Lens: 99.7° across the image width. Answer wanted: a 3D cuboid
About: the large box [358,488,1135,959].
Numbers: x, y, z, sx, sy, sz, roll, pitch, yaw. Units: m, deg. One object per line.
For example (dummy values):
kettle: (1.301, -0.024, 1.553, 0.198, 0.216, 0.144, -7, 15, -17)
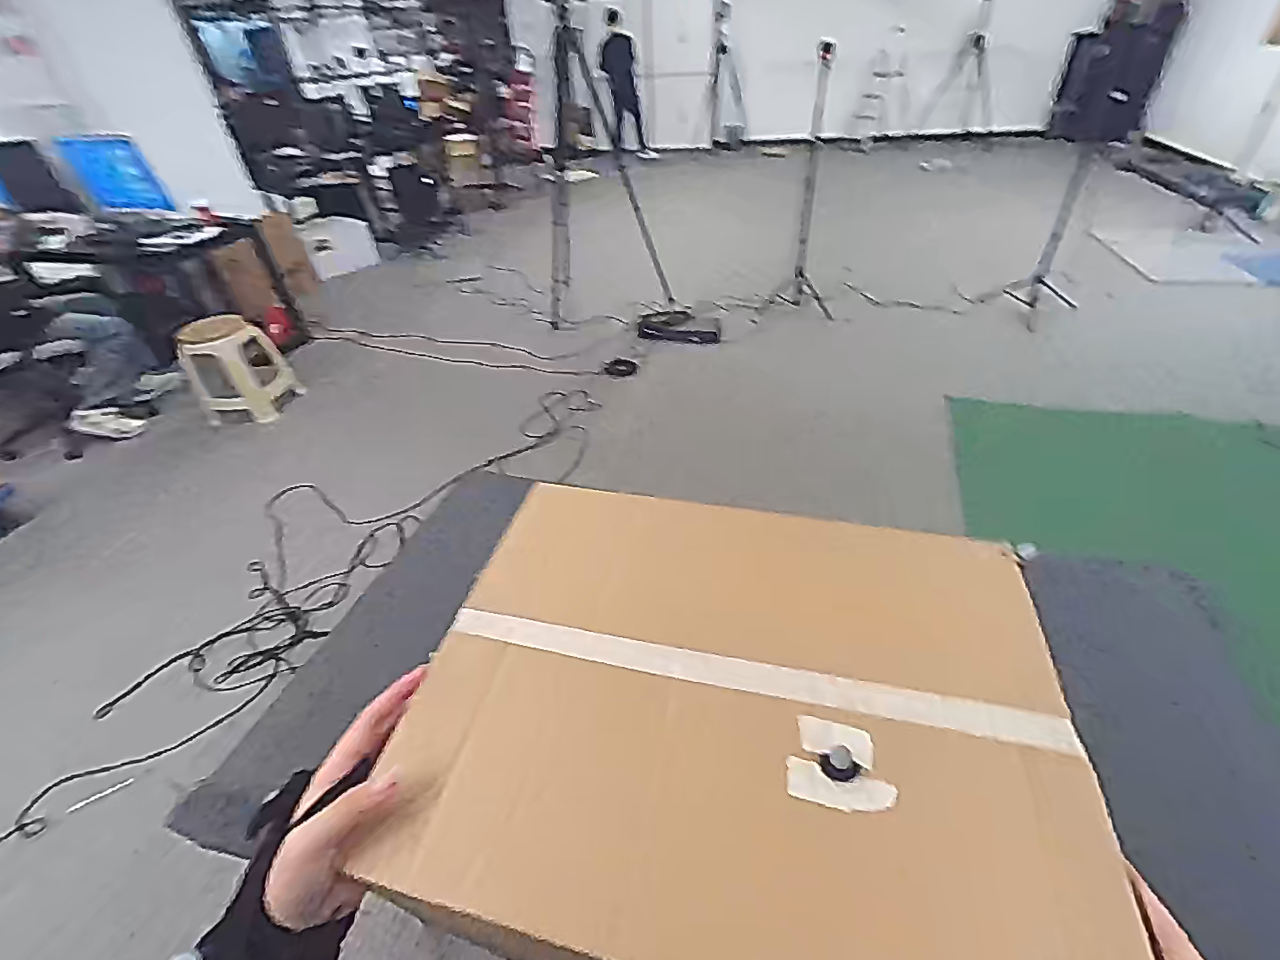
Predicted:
large box: (0.070, 0.240, 0.470, 0.408, 0.320, 0.320, 8, 45, 11)
